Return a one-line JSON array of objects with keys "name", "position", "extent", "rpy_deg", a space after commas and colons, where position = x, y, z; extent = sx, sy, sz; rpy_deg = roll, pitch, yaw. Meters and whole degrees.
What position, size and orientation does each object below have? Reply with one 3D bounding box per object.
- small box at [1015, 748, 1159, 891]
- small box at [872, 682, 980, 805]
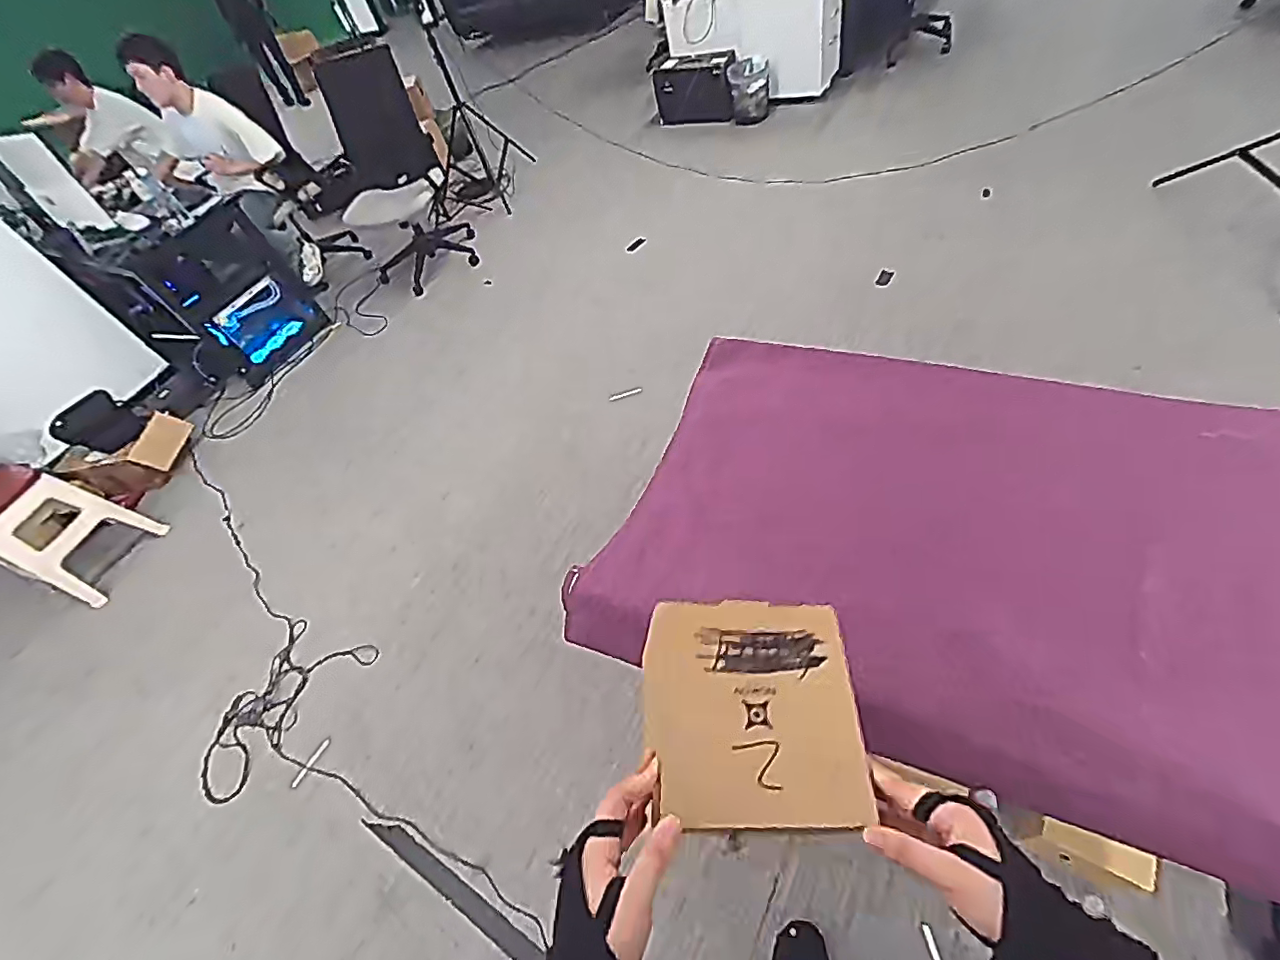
[{"name": "small box", "position": [0.868, 0.670, 1.064], "extent": [0.168, 0.176, 0.179], "rpy_deg": [20, 60, 28]}, {"name": "small box", "position": [0.624, 0.587, 1.196], "extent": [0.168, 0.176, 0.179], "rpy_deg": [18, 59, 26]}]
